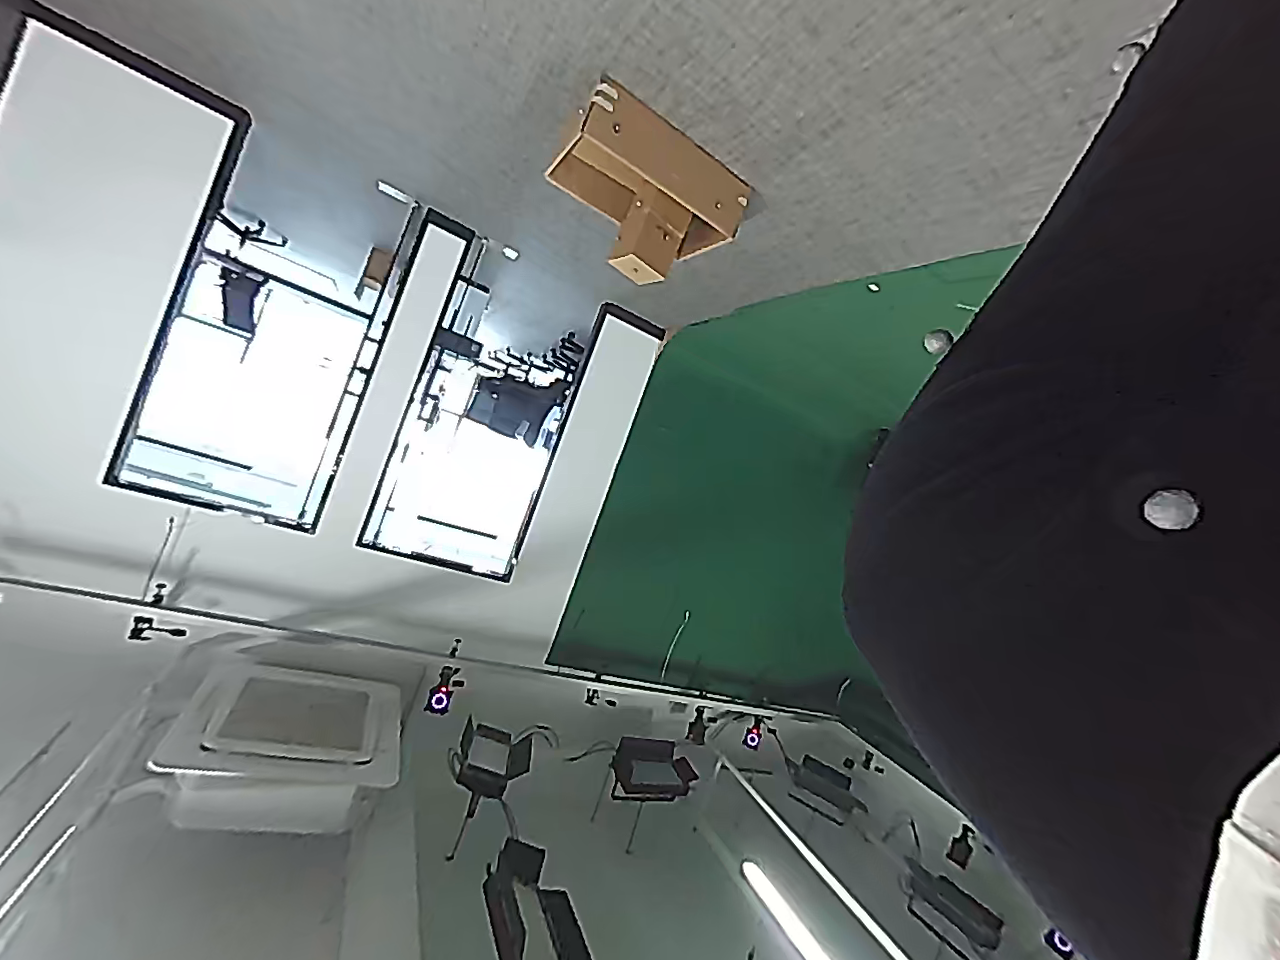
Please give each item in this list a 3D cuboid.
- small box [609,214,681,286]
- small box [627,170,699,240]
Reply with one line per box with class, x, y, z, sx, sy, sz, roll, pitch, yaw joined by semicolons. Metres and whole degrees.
small box;0.022;-0.831;1.961;0.168;0.176;0.179;24;177;-35
small box;0.088;-0.980;1.963;0.168;0.176;0.179;25;176;-31
